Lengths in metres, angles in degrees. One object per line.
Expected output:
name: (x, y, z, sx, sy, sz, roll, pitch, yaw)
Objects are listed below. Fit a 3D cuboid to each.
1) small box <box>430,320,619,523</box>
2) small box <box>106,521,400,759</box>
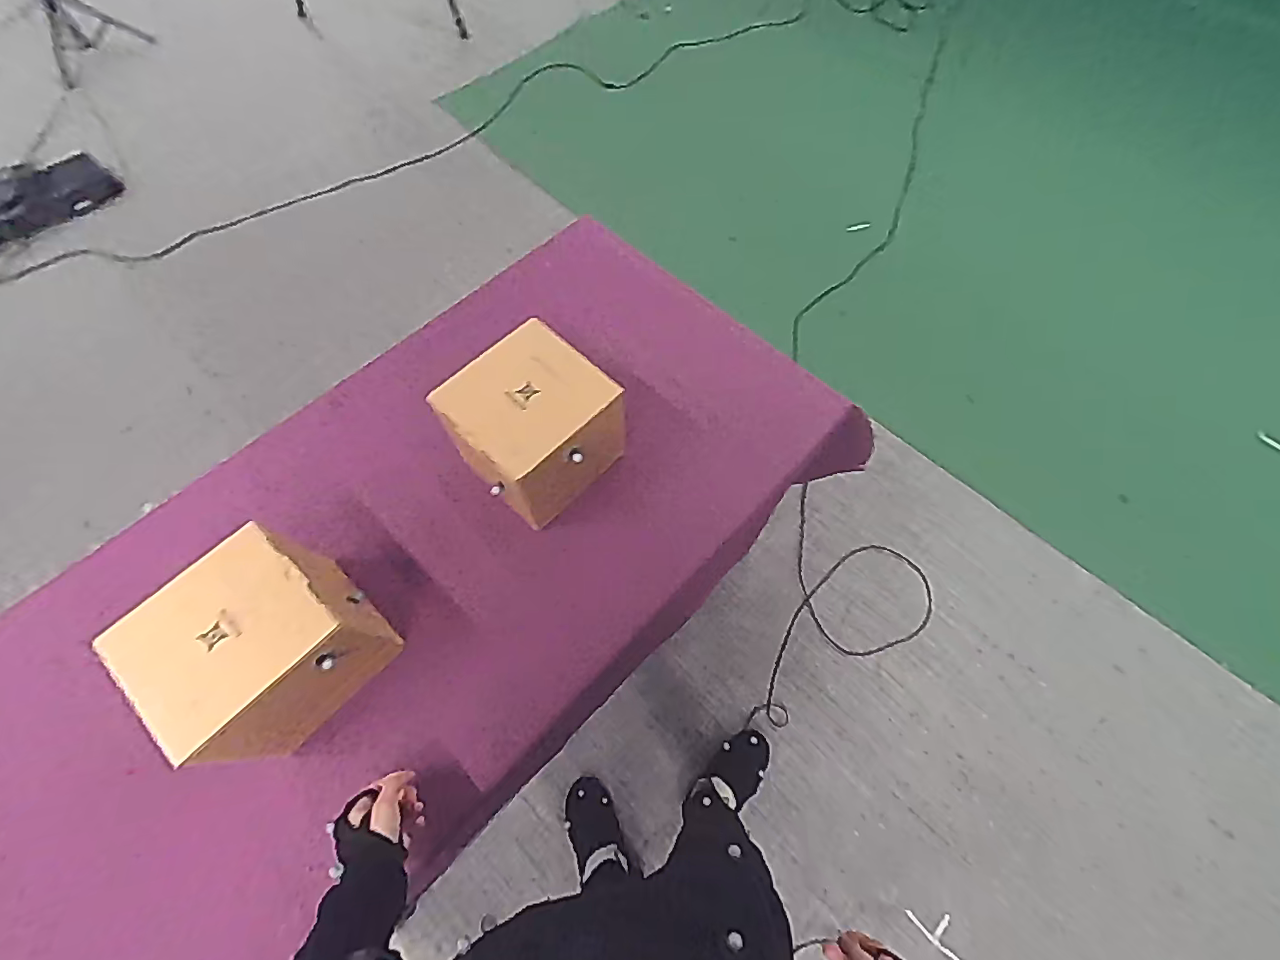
small box: (-0.140, -0.070, 0.729, 0.168, 0.176, 0.179, 42, 71, 16)
small box: (-0.413, 0.184, 0.611, 0.168, 0.176, 0.179, 39, 70, 16)
